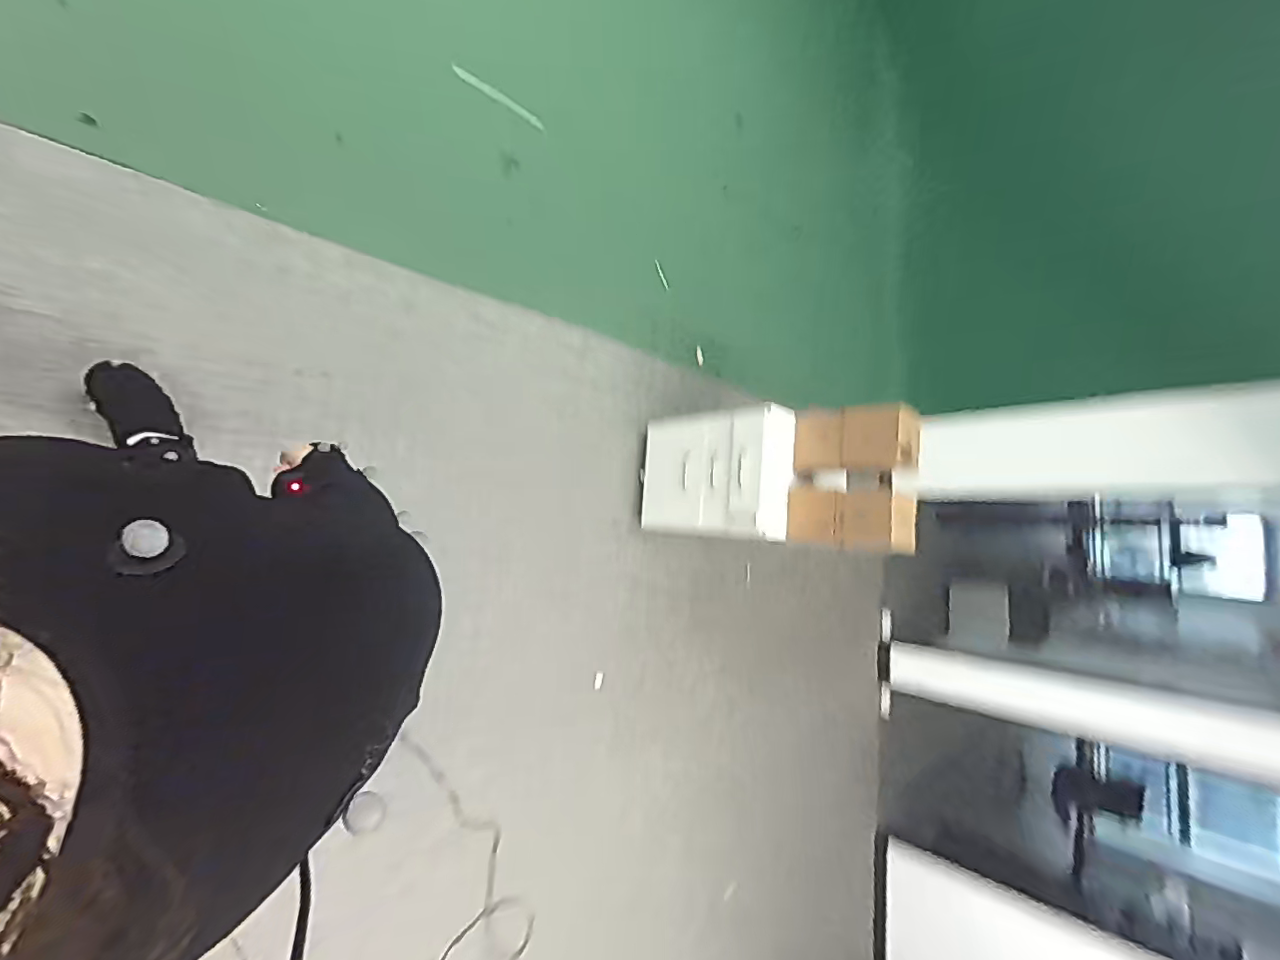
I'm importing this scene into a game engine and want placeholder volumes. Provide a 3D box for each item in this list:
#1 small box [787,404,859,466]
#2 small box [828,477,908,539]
[{"bbox_3d":[0.595,-0.141,1.762,0.168,0.176,0.179,8,85,-43],"label":"small box"},{"bbox_3d":[0.678,0.086,1.611,0.179,0.176,0.168,11,82,-44],"label":"small box"}]
